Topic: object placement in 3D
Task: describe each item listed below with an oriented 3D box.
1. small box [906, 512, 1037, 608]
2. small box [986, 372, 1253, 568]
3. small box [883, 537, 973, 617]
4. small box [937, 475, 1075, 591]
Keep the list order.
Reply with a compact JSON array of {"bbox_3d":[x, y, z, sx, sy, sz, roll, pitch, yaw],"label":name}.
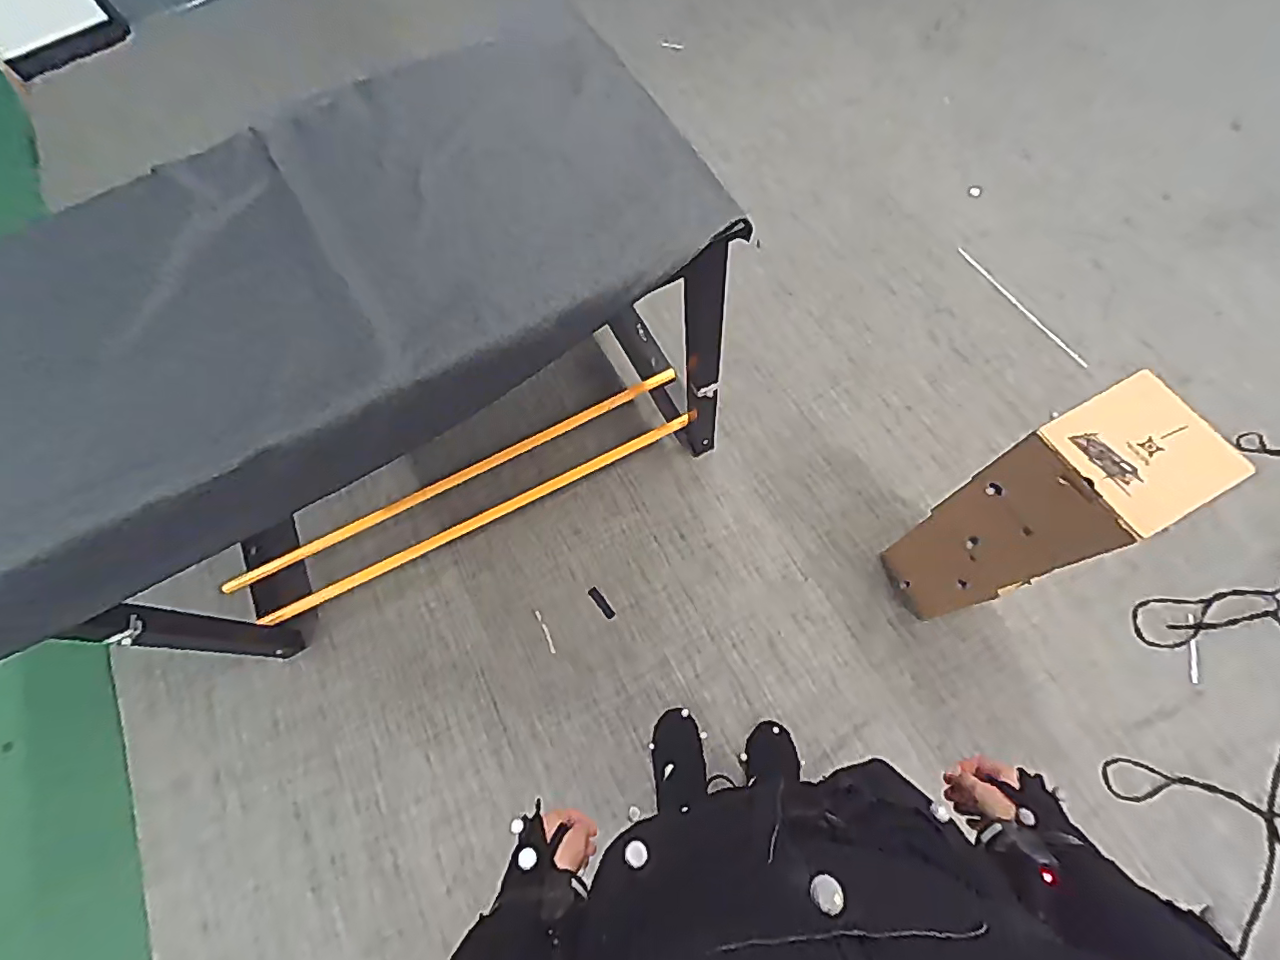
[{"bbox_3d":[0.645,0.126,1.018,0.168,0.176,0.179,-27,67,-6],"label":"small box"},{"bbox_3d":[0.604,-0.003,0.718,0.179,0.176,0.168,-27,69,-7],"label":"small box"},{"bbox_3d":[0.664,0.185,1.167,0.168,0.176,0.179,-24,69,-5],"label":"small box"},{"bbox_3d":[0.626,0.060,0.868,0.179,0.176,0.168,-26,68,-5],"label":"small box"}]
